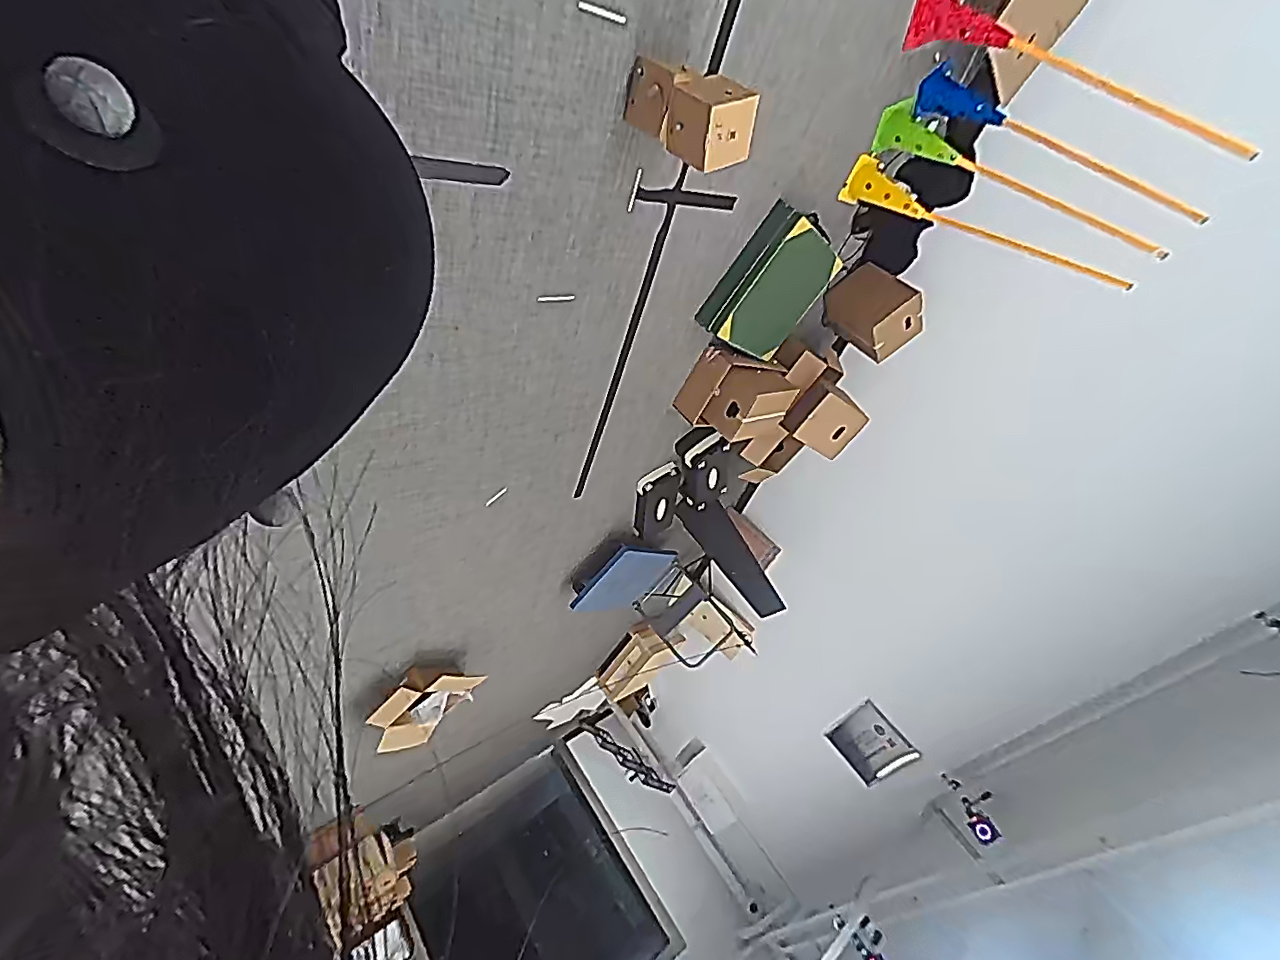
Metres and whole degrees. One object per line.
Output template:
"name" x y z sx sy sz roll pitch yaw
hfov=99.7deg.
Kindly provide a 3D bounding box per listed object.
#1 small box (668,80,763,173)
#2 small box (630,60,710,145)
"small box" 0.203 -0.983 1.496 0.179 0.176 0.168 -26 148 -24
"small box" 0.095 -1.086 1.566 0.179 0.176 0.168 -21 147 -37
